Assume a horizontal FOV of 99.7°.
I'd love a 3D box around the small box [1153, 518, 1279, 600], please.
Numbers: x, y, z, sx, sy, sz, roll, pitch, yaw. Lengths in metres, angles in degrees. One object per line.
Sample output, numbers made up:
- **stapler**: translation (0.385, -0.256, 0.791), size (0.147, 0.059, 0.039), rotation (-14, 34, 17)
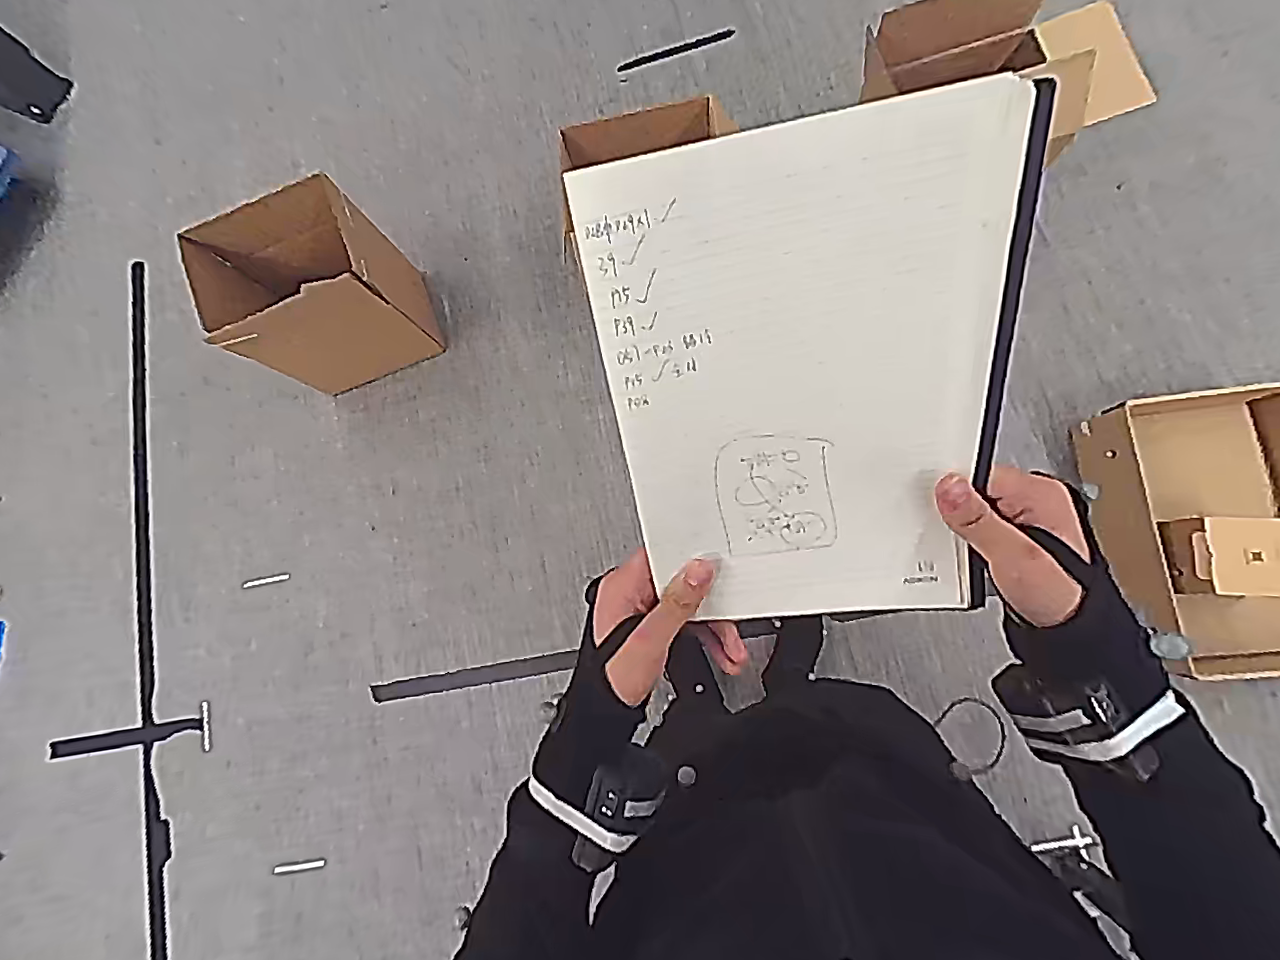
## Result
- **small box**: translation (1.290, 0.177, 1.195), size (0.179, 0.176, 0.168), rotation (1, 80, 8)
